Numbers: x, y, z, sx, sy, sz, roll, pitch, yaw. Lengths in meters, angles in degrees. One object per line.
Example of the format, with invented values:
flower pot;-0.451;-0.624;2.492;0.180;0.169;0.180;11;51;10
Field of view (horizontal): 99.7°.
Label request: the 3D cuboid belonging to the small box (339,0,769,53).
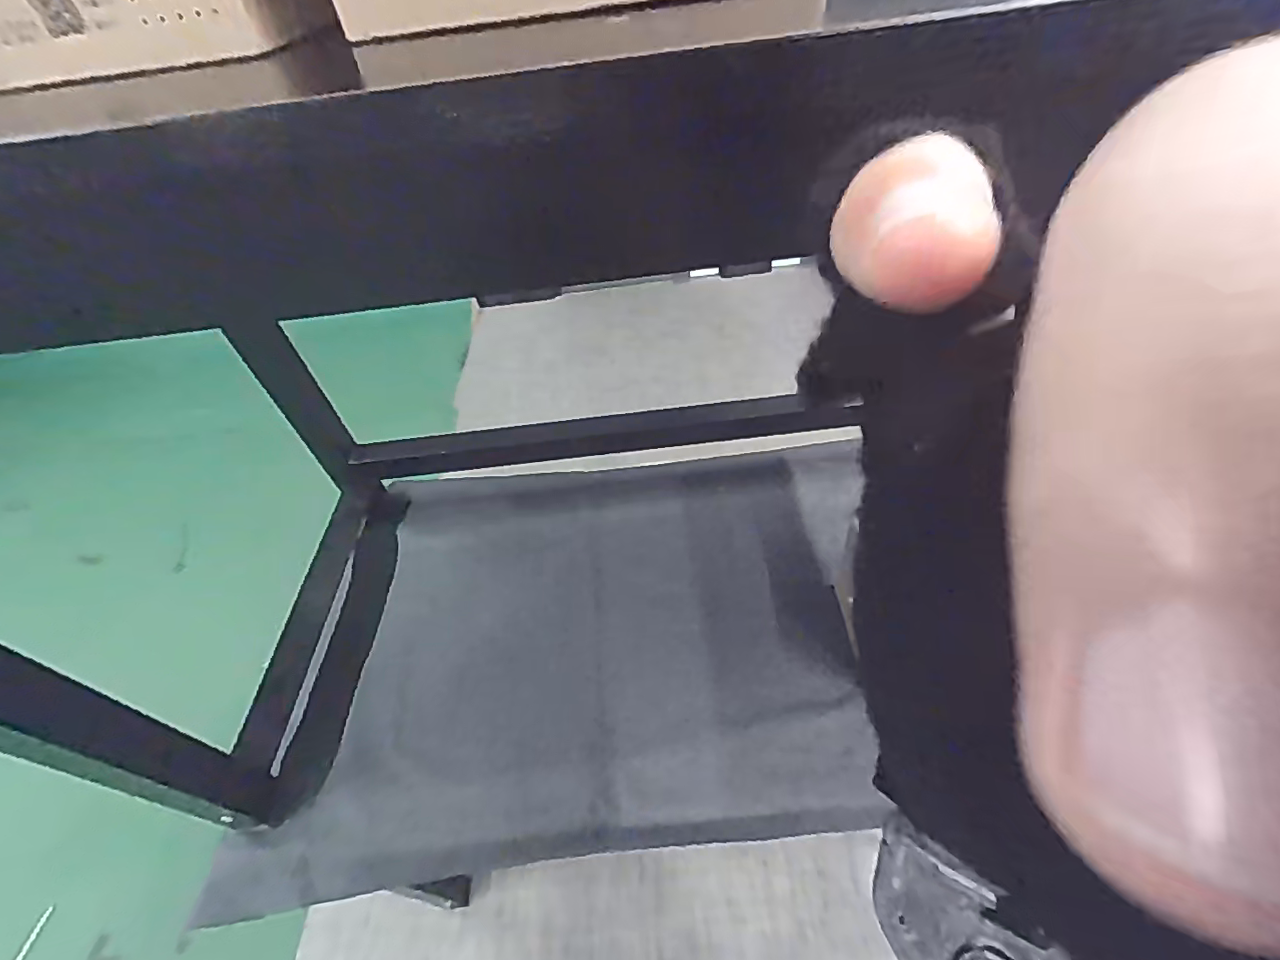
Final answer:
small box;-0.033;-0.276;0.194;0.179;0.176;0.168;-4;47;4
